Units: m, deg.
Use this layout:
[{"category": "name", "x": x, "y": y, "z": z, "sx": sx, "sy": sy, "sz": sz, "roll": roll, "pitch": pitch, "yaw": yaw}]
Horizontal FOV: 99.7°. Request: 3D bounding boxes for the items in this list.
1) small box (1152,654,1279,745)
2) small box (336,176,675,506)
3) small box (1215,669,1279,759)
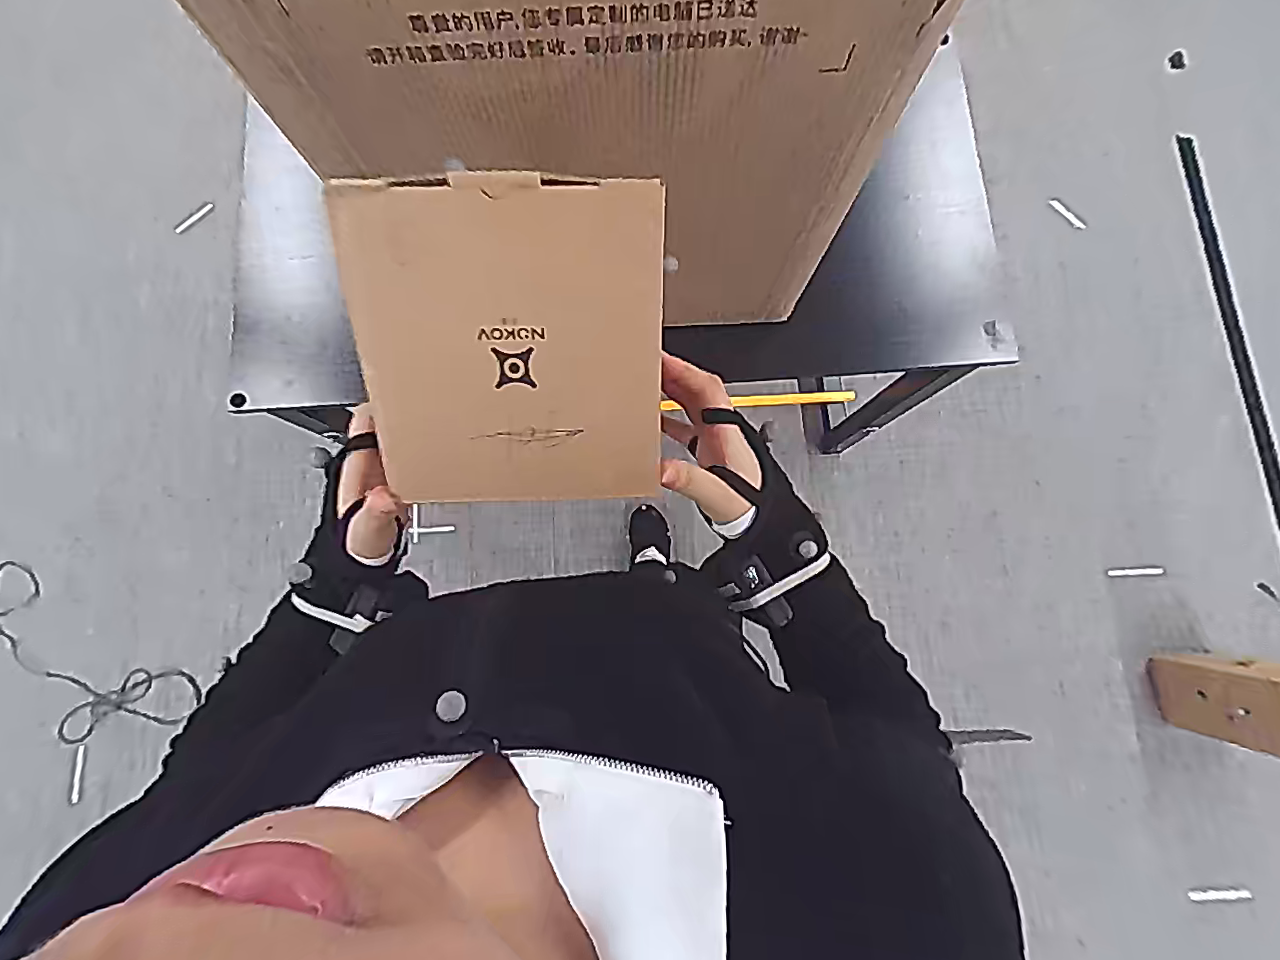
[{"category": "small box", "x": 1.443, "y": 0.537, "z": 1.348, "sx": 0.168, "sy": 0.176, "sz": 0.179, "roll": -6, "pitch": 81, "yaw": -1}, {"category": "small box", "x": -0.069, "y": -0.097, "z": 0.367, "sx": 0.168, "sy": 0.176, "sz": 0.179, "roll": -1, "pitch": 114, "yaw": -2}, {"category": "small box", "x": 1.443, "y": 0.515, "z": 1.185, "sx": 0.179, "sy": 0.176, "sz": 0.168, "roll": -3, "pitch": 80, "yaw": 0}]
